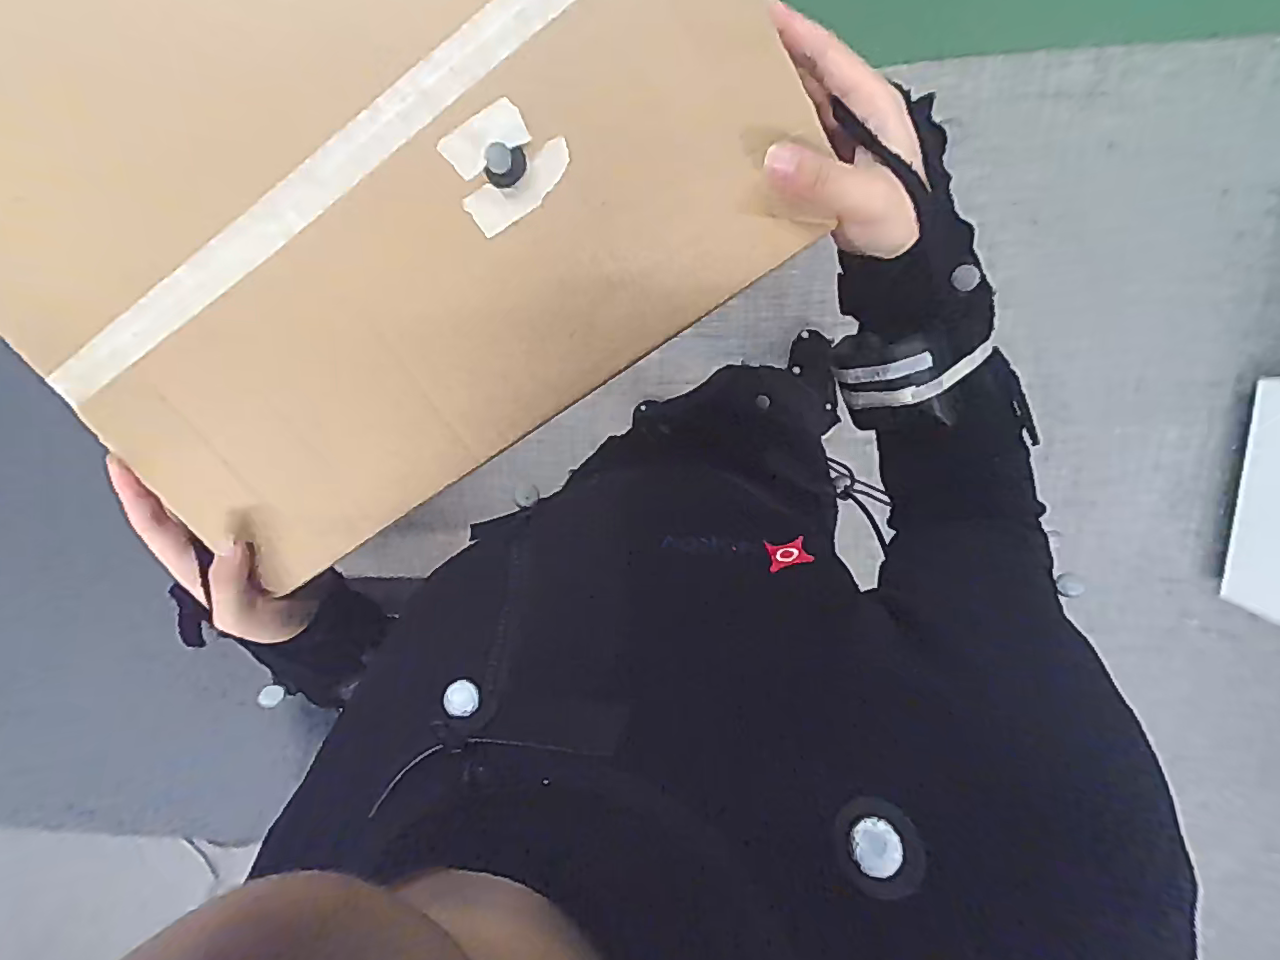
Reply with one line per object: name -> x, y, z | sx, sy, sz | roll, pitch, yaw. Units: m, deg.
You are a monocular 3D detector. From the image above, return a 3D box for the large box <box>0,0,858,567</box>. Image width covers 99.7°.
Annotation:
large box -> -0.133, -0.208, 0.417 | 0.408, 0.320, 0.320 | -32, 105, 8
